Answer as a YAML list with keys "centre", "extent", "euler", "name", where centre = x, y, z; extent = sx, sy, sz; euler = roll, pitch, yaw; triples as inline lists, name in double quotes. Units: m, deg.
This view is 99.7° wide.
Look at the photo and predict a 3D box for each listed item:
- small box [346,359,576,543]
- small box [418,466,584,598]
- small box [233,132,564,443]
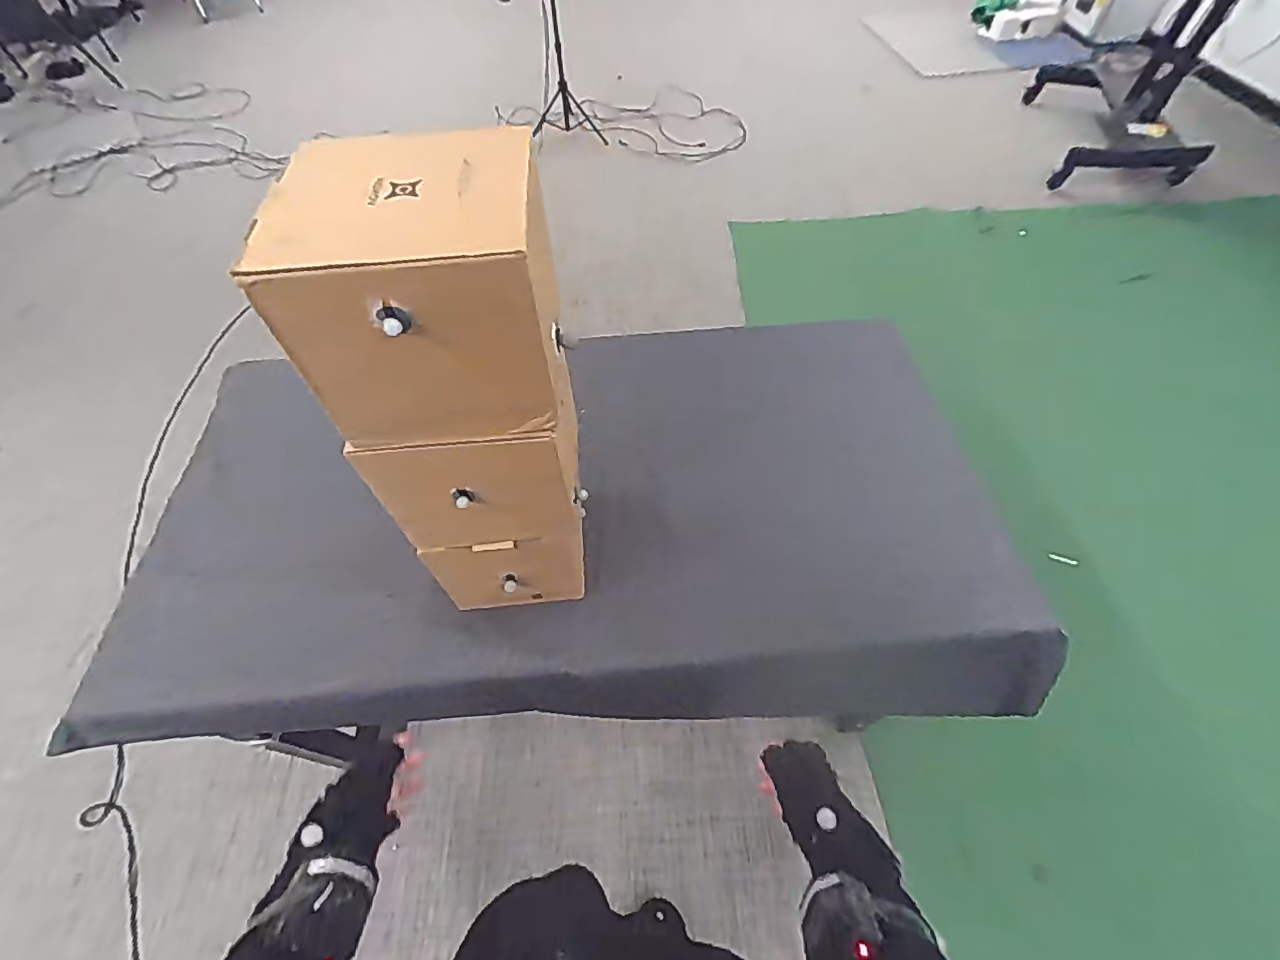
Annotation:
- centre: [-0.160, -0.047, 0.557]
  extent: [0.179, 0.176, 0.168]
  euler: [-4, 56, -1]
  name: "small box"
- centre: [-0.164, 0.043, 0.695]
  extent: [0.168, 0.176, 0.179]
  euler: [-5, 56, -2]
  name: "small box"
- centre: [-0.158, -0.143, 0.427]
  extent: [0.179, 0.176, 0.168]
  euler: [-5, 57, -3]
  name: "small box"
